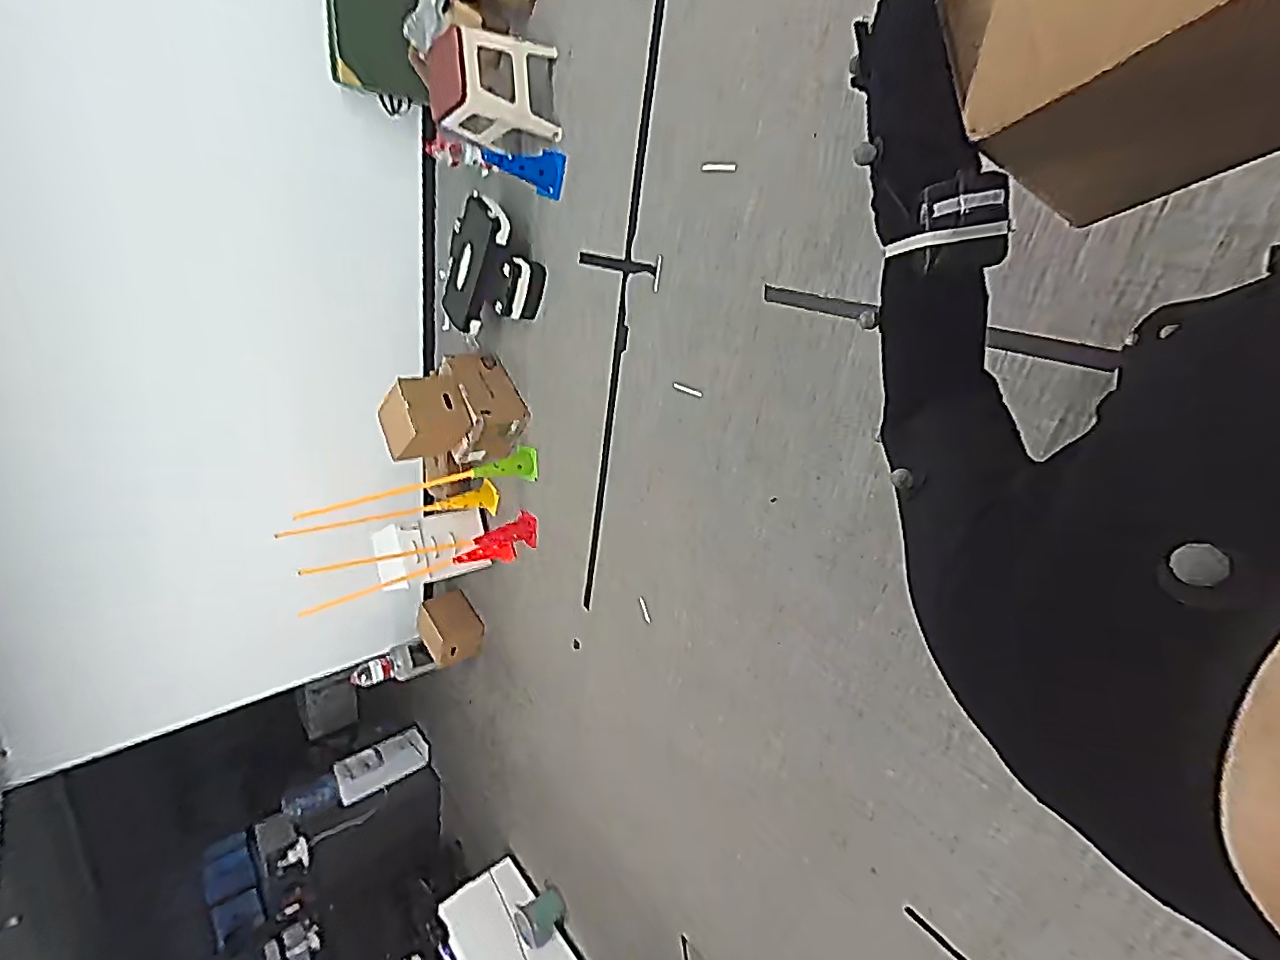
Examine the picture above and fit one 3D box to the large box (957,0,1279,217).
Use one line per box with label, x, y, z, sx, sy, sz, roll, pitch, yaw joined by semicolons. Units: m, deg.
large box;0.454;-0.437;0.335;0.408;0.320;0.320;-12;87;50
